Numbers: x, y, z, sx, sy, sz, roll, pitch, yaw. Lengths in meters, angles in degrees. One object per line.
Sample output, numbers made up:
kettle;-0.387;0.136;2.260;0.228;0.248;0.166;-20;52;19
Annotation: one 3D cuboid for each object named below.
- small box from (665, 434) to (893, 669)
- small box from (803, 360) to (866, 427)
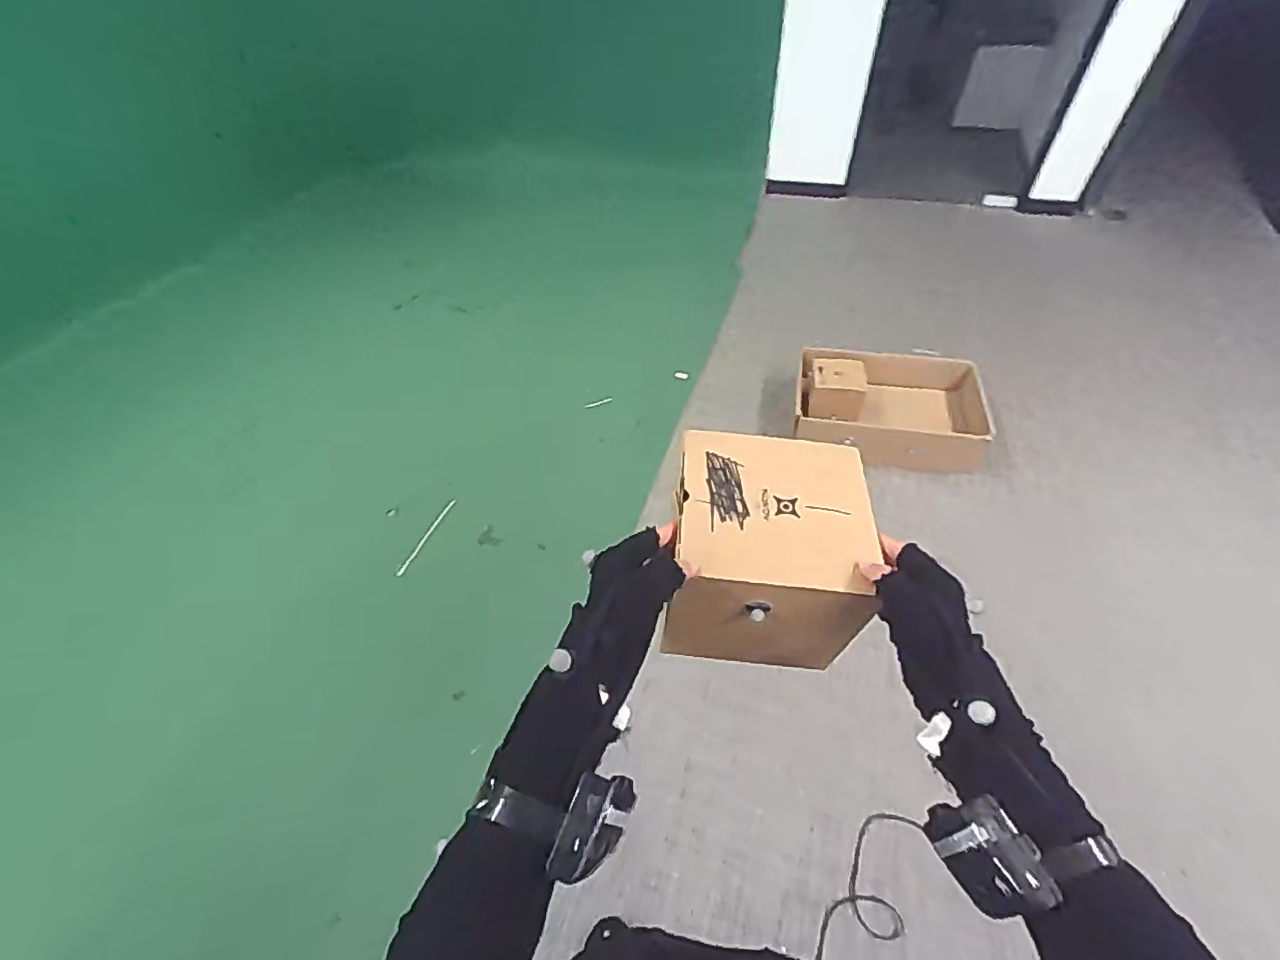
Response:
small box;0.122;0.077;0.548;0.179;0.176;0.168;7;51;0
small box;0.699;-0.312;1.961;0.179;0.176;0.168;6;50;7
